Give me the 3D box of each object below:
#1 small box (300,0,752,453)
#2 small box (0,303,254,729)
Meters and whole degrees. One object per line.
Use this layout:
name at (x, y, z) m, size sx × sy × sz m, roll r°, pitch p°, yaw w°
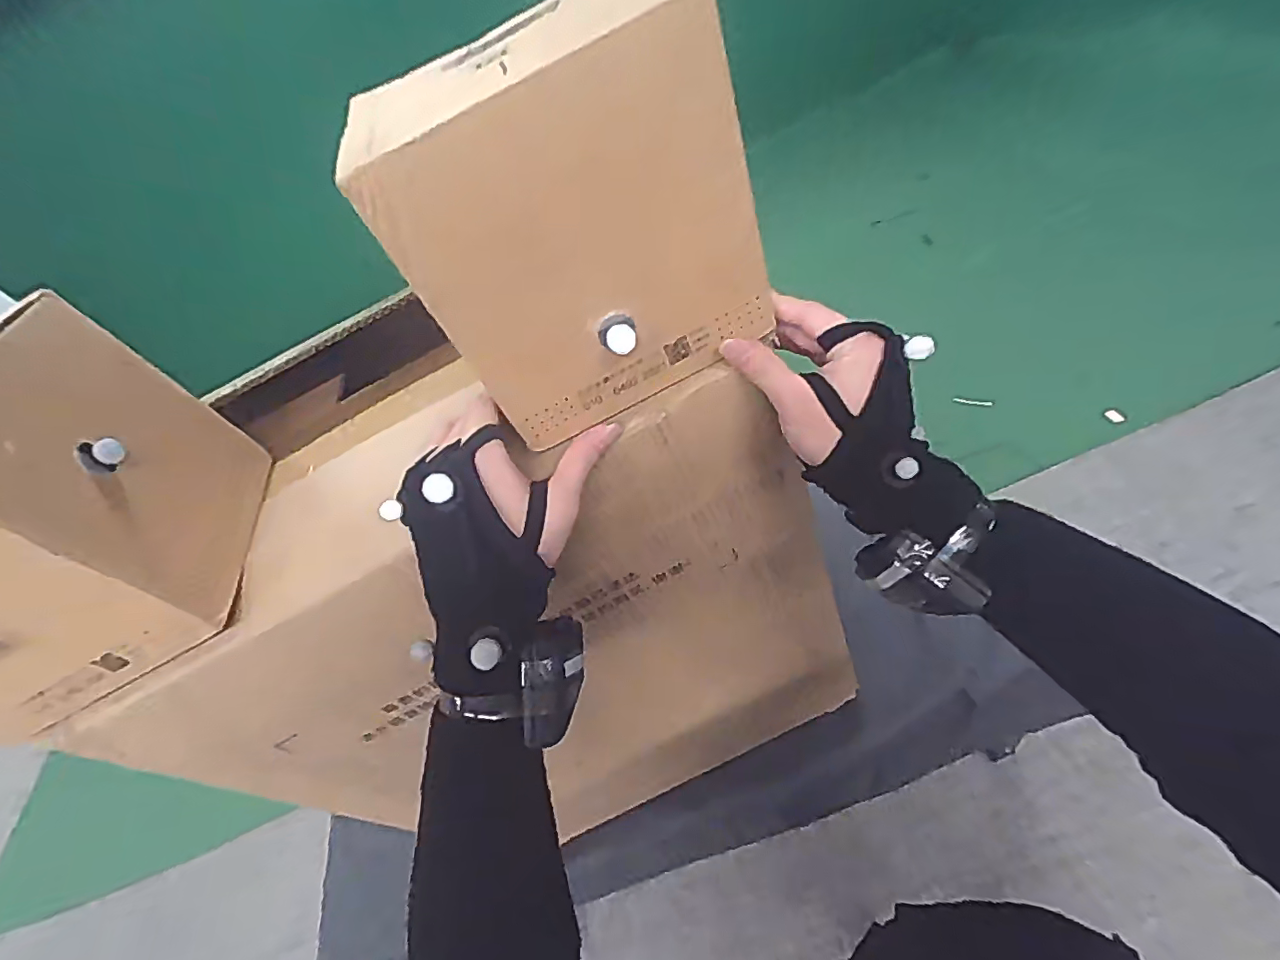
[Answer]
small box at (-0.054, -0.149, 0.318) m, size 0.168 × 0.176 × 0.179 m, roll -27°, pitch 47°, yaw 2°
small box at (-0.387, 0.032, 0.337) m, size 0.168 × 0.176 × 0.179 m, roll -29°, pitch 46°, yaw 4°
